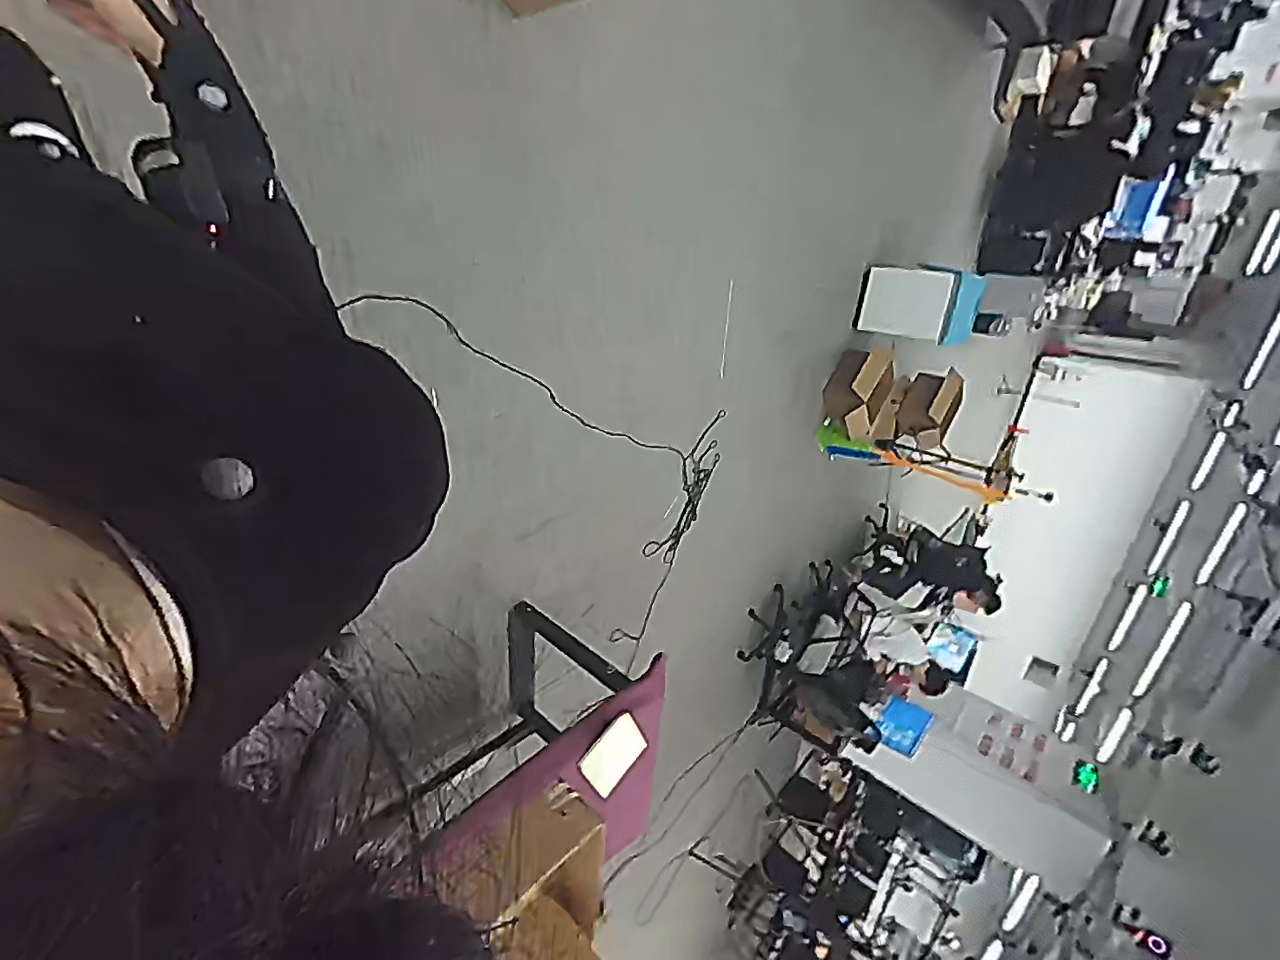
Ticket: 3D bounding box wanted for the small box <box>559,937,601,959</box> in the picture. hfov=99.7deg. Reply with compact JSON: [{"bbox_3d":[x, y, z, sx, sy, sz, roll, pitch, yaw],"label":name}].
[{"bbox_3d":[-0.158,1.302,1.330,0.179,0.176,0.168,-22,124,-44],"label":"small box"}]
